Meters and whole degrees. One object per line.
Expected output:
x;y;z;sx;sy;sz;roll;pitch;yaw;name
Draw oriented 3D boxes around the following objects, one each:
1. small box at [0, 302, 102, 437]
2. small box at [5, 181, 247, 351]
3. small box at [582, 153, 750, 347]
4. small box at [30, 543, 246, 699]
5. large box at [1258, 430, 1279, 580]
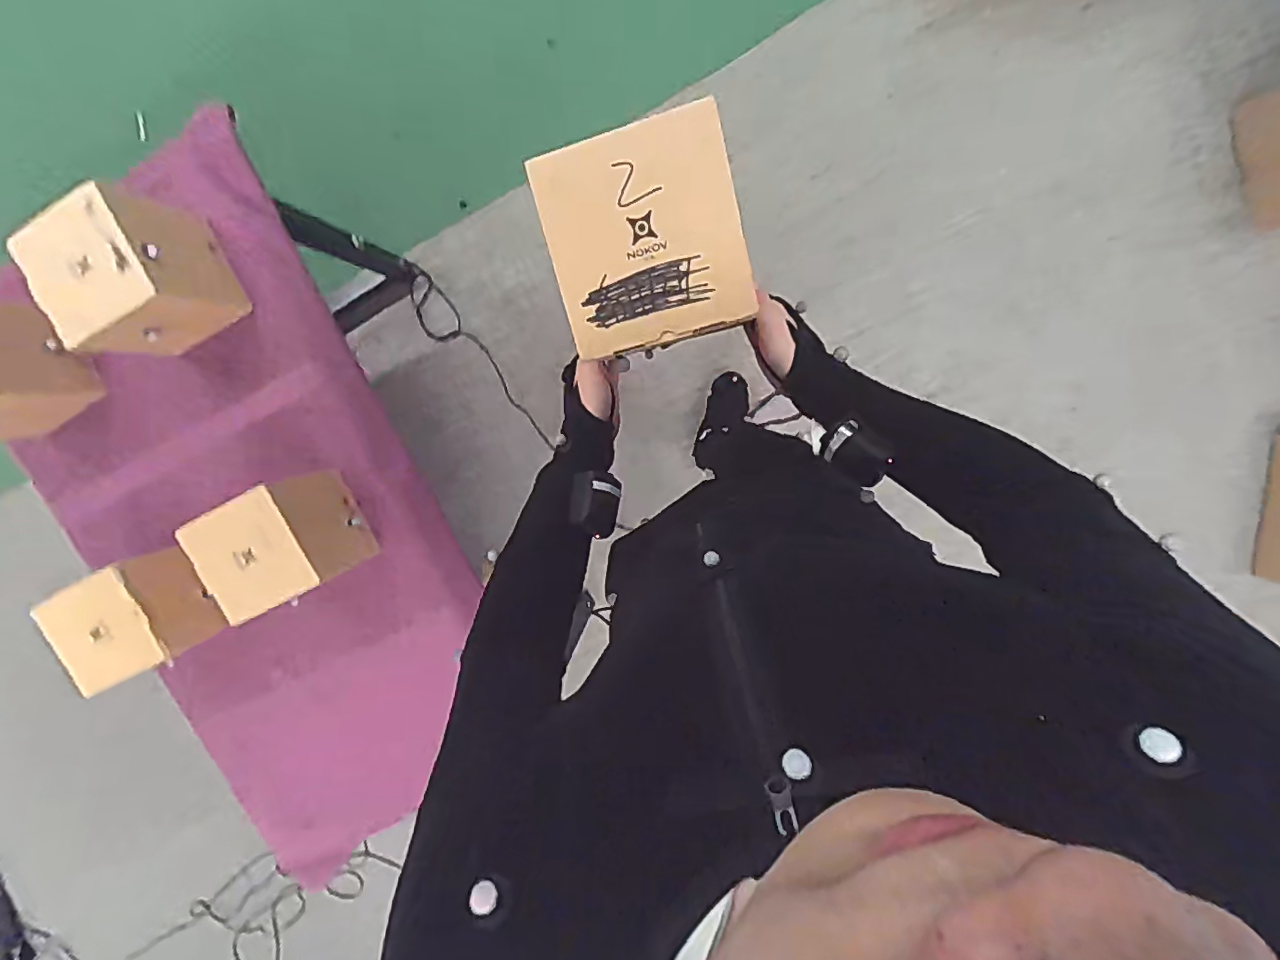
-1.044;-0.171;0.864;0.179;0.176;0.168;-27;99;8;small box
-0.758;-0.305;0.817;0.179;0.176;0.168;-24;97;11;small box
0.041;-0.275;0.688;0.168;0.176;0.179;-11;102;9;small box
-0.831;0.228;0.914;0.179;0.176;0.168;-26;95;7;small box
1.841;0.078;1.319;0.320;0.320;0.408;-2;98;5;large box
